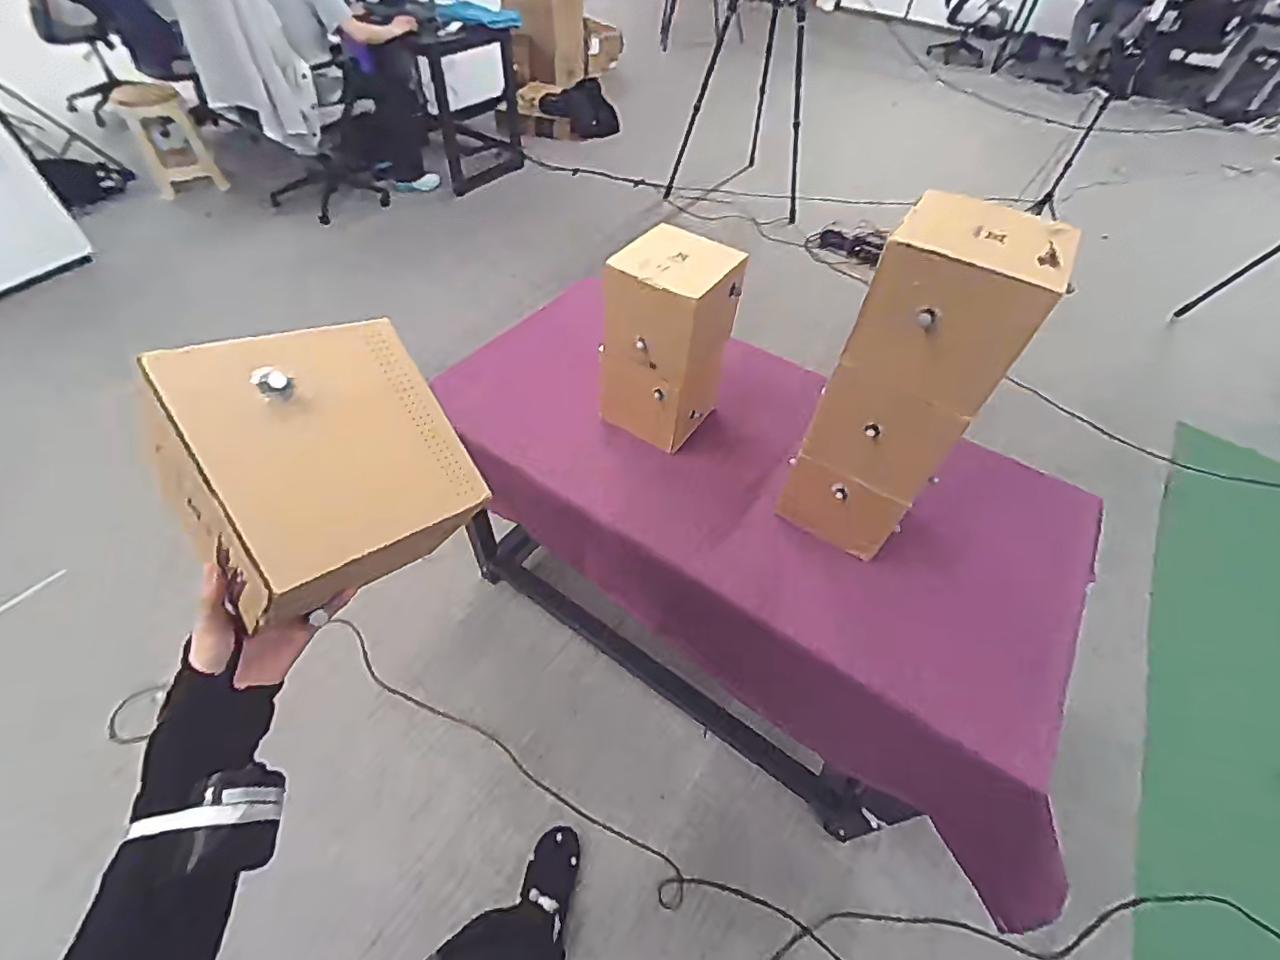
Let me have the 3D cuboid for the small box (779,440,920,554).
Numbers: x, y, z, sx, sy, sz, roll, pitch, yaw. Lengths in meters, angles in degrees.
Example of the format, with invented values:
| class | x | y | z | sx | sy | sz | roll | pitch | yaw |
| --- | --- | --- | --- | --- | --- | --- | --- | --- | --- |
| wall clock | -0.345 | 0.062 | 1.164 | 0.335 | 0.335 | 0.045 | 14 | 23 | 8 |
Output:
| class | x | y | z | sx | sy | sz | roll | pitch | yaw |
| --- | --- | --- | --- | --- | --- | --- | --- | --- | --- |
| small box | 0.356 | -0.007 | 0.902 | 0.179 | 0.176 | 0.168 | 30 | 56 | 19 |

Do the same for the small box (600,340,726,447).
| class | x | y | z | sx | sy | sz | roll | pitch | yaw |
| --- | --- | --- | --- | --- | --- | --- | --- | --- | --- |
| small box | 0.038 | -0.193 | 1.036 | 0.179 | 0.176 | 0.168 | 29 | 54 | 18 |

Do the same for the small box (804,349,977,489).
| class | x | y | z | sx | sy | sz | roll | pitch | yaw |
| --- | --- | --- | --- | --- | --- | --- | --- | --- | --- |
| small box | 0.364 | -0.112 | 0.776 | 0.179 | 0.176 | 0.168 | 29 | 55 | 20 |

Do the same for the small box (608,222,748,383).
| class | x | y | z | sx | sy | sz | roll | pitch | yaw |
| --- | --- | --- | --- | --- | --- | --- | --- | --- | --- |
| small box | 0.055 | -0.297 | 0.908 | 0.168 | 0.176 | 0.179 | 29 | 54 | 18 |

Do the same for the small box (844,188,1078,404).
| class | x | y | z | sx | sy | sz | roll | pitch | yaw |
| --- | --- | --- | --- | --- | --- | --- | --- | --- | --- |
| small box | 0.372 | -0.219 | 0.651 | 0.179 | 0.176 | 0.168 | 28 | 55 | 19 |
